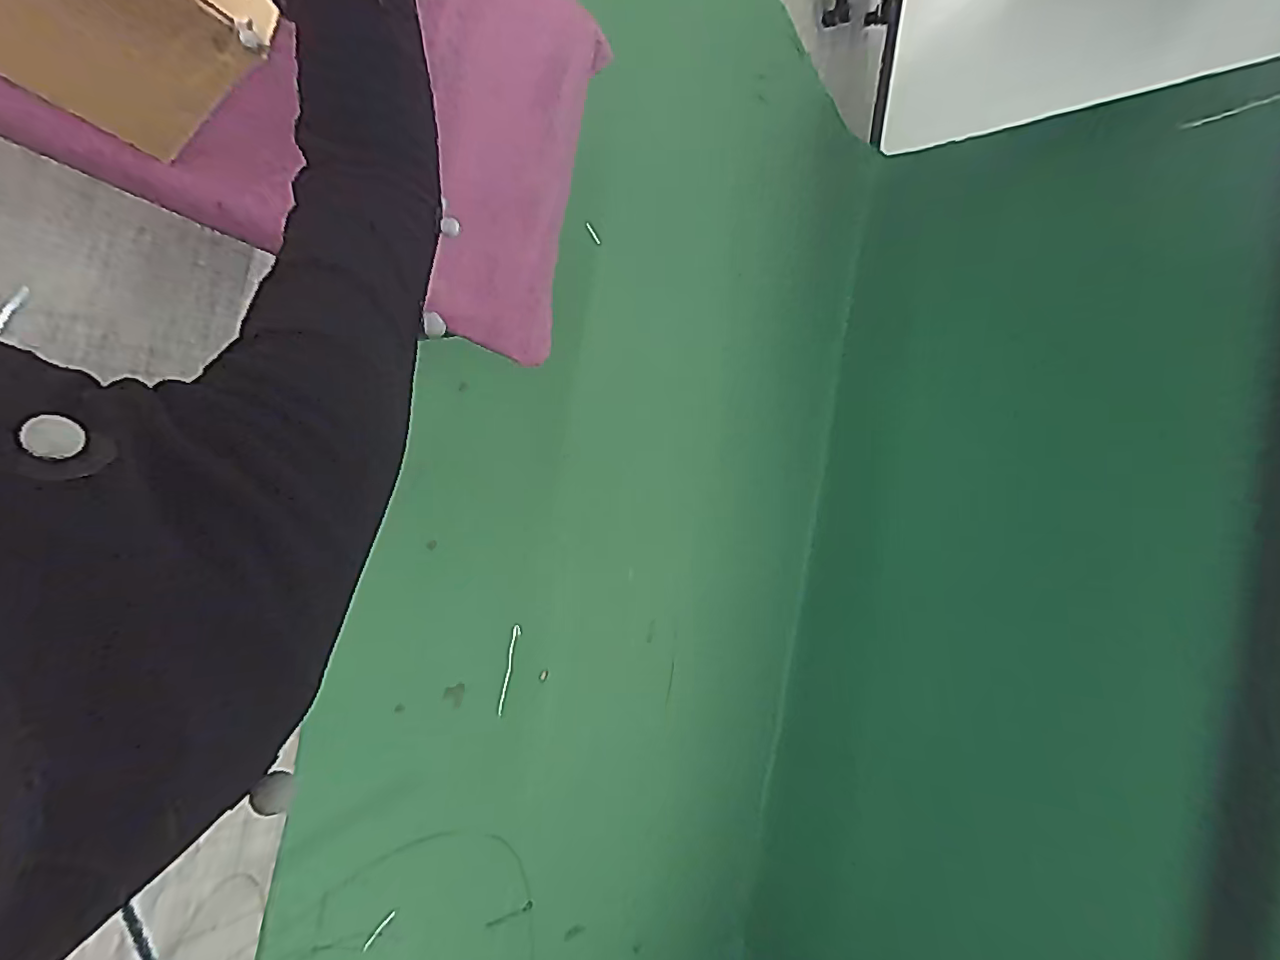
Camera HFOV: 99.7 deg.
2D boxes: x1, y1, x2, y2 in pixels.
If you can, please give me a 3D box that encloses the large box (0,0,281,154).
[{"bbox_3d":[-0.452,-0.557,0.398,0.320,0.320,0.408,18,82,-50],"label":"large box"}]
